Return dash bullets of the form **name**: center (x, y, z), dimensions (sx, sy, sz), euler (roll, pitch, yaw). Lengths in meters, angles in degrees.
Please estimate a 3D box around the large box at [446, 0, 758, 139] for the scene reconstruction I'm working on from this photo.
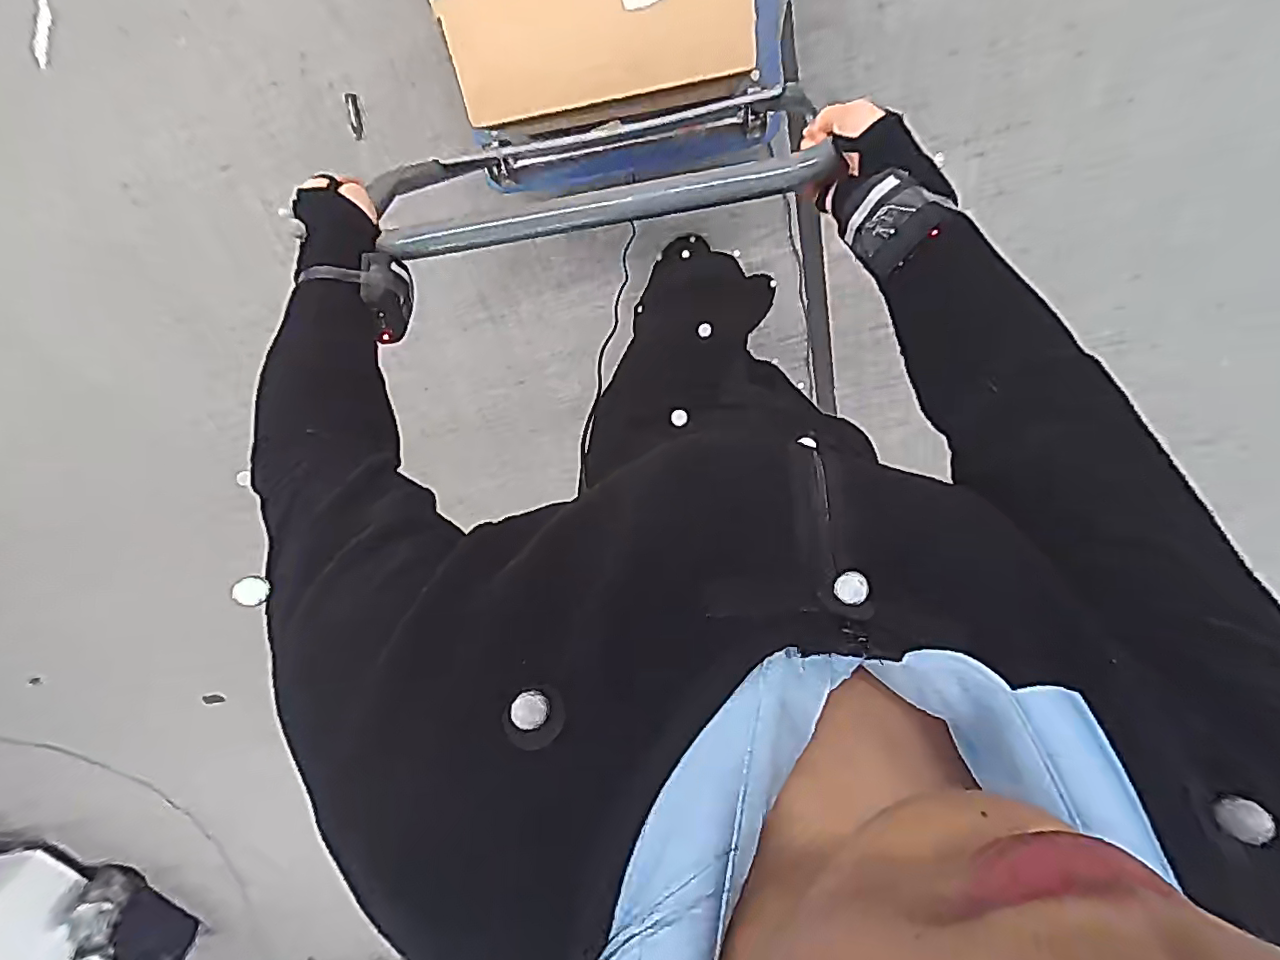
- **large box**: center (-0.057, -0.735, 0.806), dimensions (0.408, 0.320, 0.320), euler (-8, 121, 7)
